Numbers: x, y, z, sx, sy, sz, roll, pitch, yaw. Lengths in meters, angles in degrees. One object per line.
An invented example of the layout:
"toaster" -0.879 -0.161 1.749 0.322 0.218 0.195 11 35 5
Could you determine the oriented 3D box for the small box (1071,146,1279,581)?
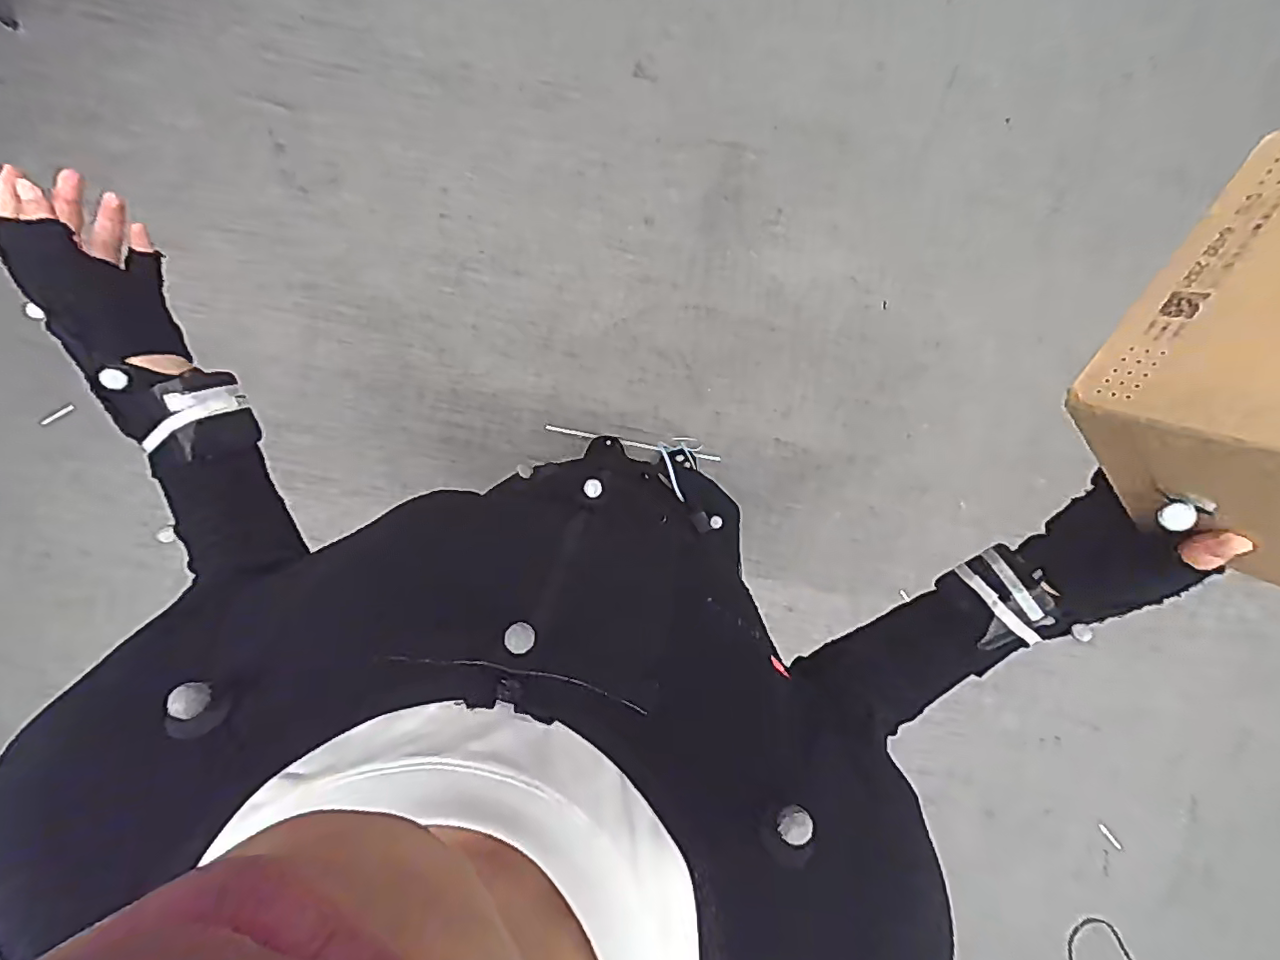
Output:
"small box" 0.358 -0.041 0.253 0.179 0.176 0.168 33 95 -32
